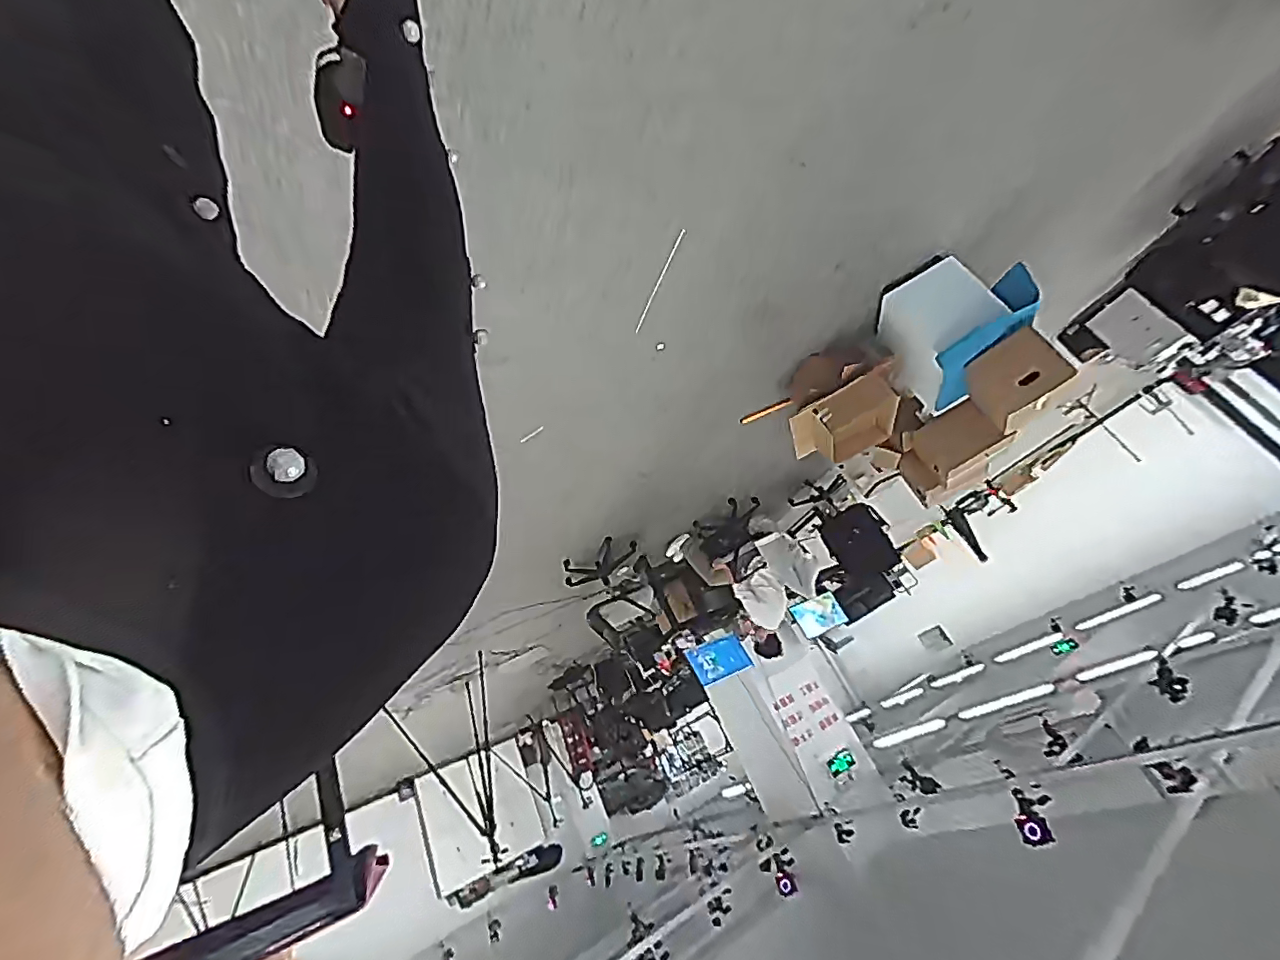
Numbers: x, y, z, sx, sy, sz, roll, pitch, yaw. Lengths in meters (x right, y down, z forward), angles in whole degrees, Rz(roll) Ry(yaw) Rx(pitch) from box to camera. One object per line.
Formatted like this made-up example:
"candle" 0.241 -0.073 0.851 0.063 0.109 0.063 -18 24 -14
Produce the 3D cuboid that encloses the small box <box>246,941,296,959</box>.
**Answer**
"small box" -1.062 1.422 1.503 0.179 0.176 0.168 -11 150 -30
